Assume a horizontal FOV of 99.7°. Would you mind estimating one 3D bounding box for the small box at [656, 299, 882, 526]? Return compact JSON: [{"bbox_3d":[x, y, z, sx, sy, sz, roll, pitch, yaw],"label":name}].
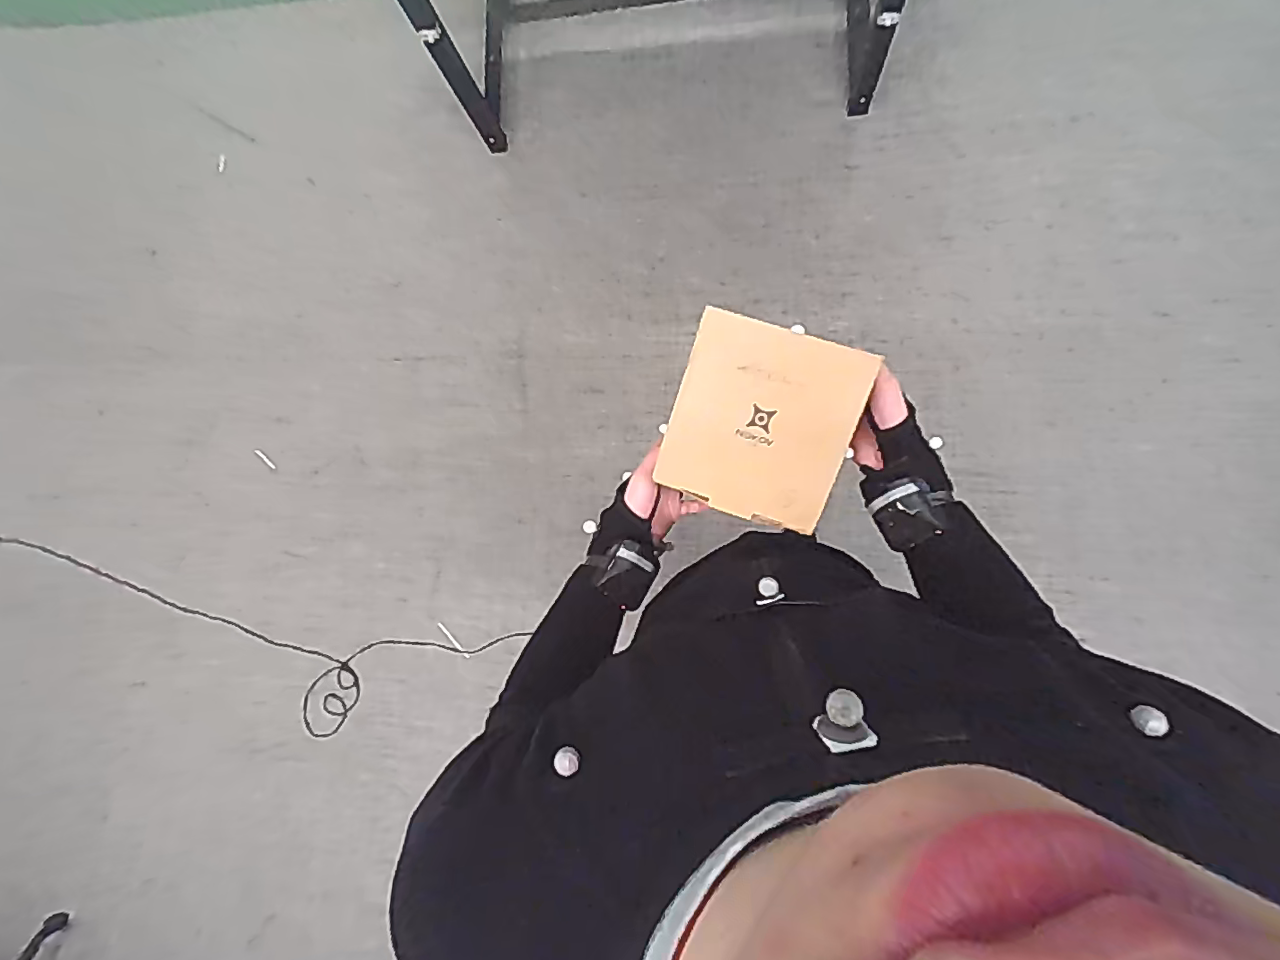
[{"bbox_3d":[0.130,-0.075,0.583,0.168,0.176,0.179,18,103,5],"label":"small box"}]
